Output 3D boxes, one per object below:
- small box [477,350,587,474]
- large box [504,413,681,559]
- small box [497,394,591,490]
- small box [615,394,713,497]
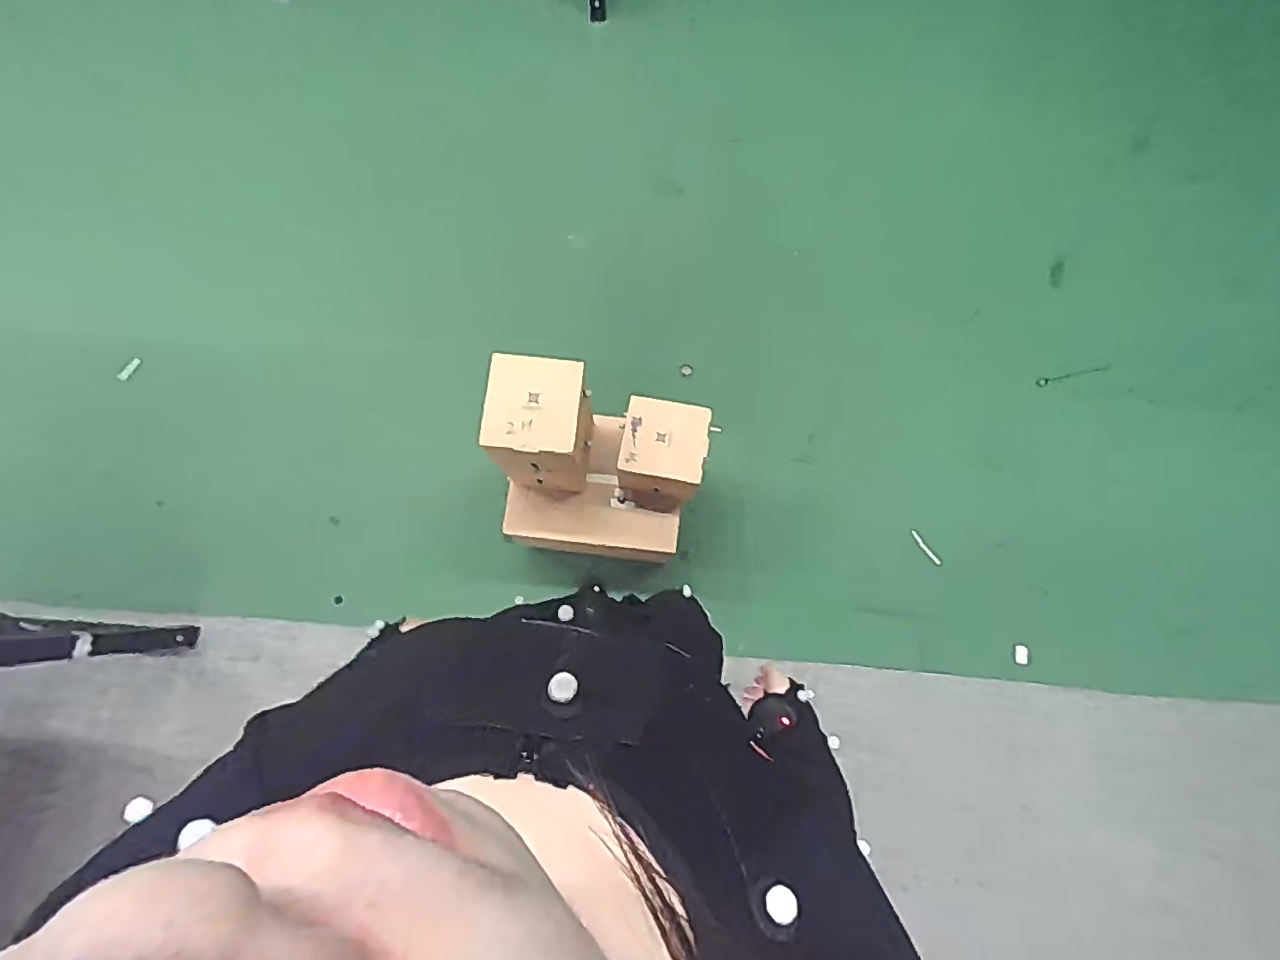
[{"bbox_3d":[-0.192,-0.121,1.014,0.168,0.176,0.179,6,78,0],"label":"small box"},{"bbox_3d":[-0.106,0.024,1.402,0.408,0.320,0.320,7,78,-1],"label":"large box"},{"bbox_3d":[-0.199,-0.088,1.176,0.168,0.176,0.179,7,77,-1],"label":"small box"},{"bbox_3d":[0.048,-0.066,1.174,0.179,0.176,0.168,12,77,1],"label":"small box"}]
